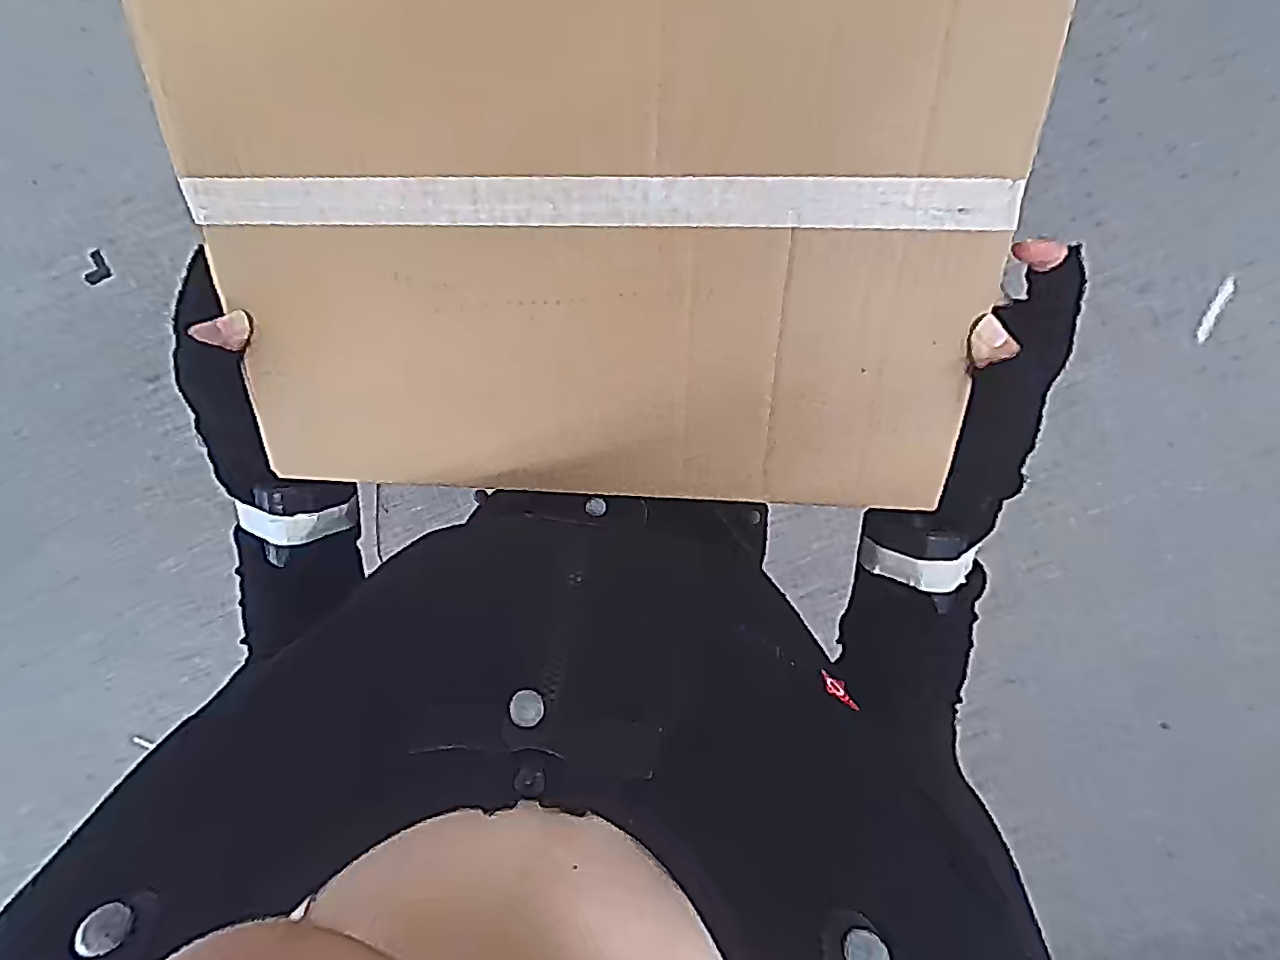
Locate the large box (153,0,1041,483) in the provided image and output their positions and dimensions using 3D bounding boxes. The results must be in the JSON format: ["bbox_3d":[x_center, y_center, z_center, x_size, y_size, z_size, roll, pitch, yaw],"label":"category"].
[{"bbox_3d":[-0.019,-0.202,0.406,0.408,0.320,0.320,2,116,4],"label":"large box"}]
